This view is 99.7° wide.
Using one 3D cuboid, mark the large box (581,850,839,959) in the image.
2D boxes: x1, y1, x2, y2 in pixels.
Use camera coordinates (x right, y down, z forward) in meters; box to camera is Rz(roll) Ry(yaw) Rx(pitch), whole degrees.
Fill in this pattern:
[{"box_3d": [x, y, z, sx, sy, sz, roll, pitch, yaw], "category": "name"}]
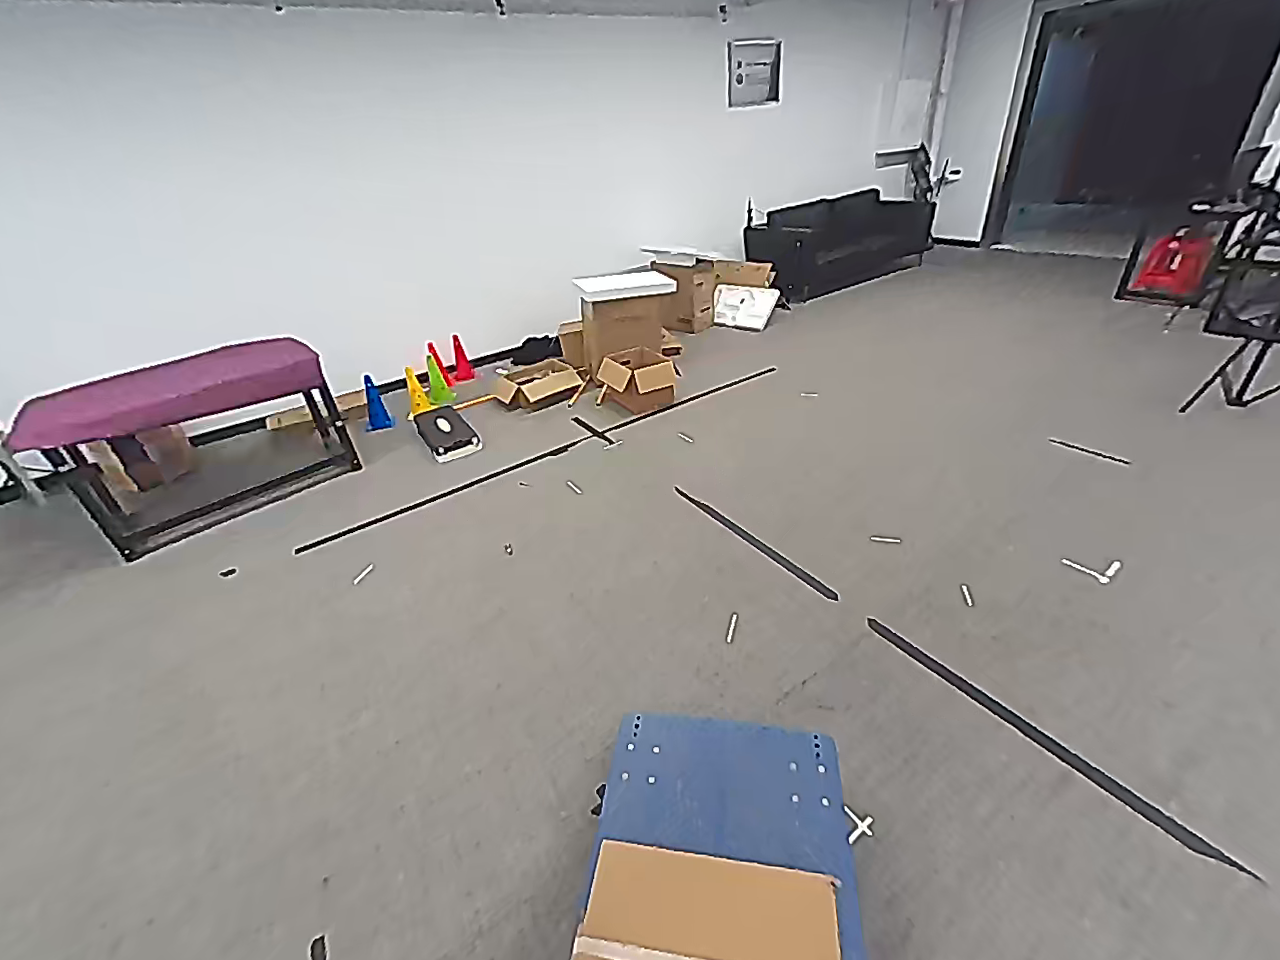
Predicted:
[{"box_3d": [0.111, 0.880, 0.897, 0.408, 0.320, 0.320, 2, 34, 11], "category": "large box"}]
